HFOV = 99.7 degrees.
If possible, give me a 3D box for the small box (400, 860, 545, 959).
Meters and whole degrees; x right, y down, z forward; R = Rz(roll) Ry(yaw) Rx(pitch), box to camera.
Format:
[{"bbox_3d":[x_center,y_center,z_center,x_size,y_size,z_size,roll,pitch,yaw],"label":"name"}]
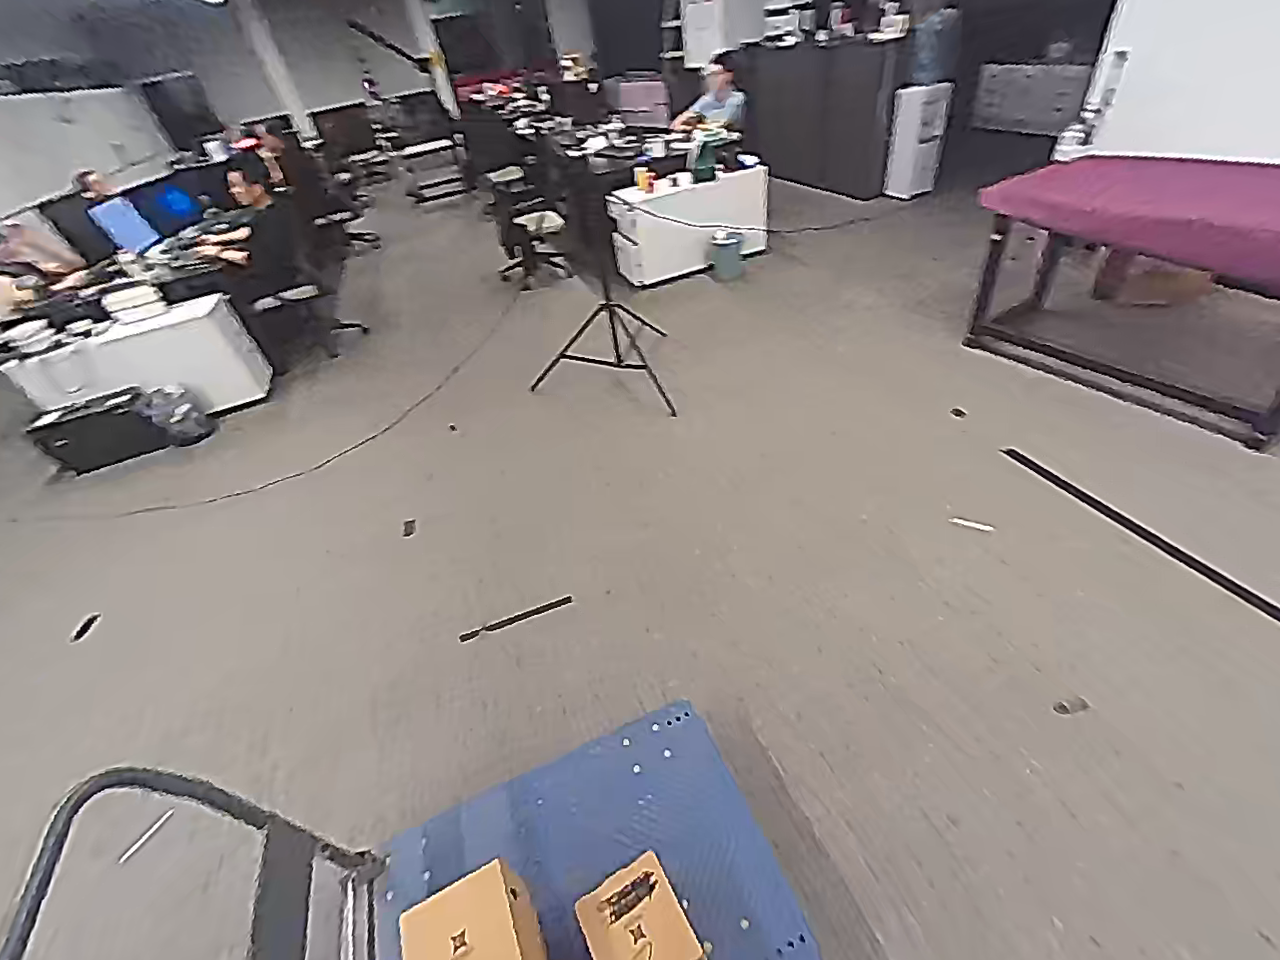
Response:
[{"bbox_3d":[-0.256,0.757,0.855,0.168,0.176,0.179,-24,42,-14],"label":"small box"}]
